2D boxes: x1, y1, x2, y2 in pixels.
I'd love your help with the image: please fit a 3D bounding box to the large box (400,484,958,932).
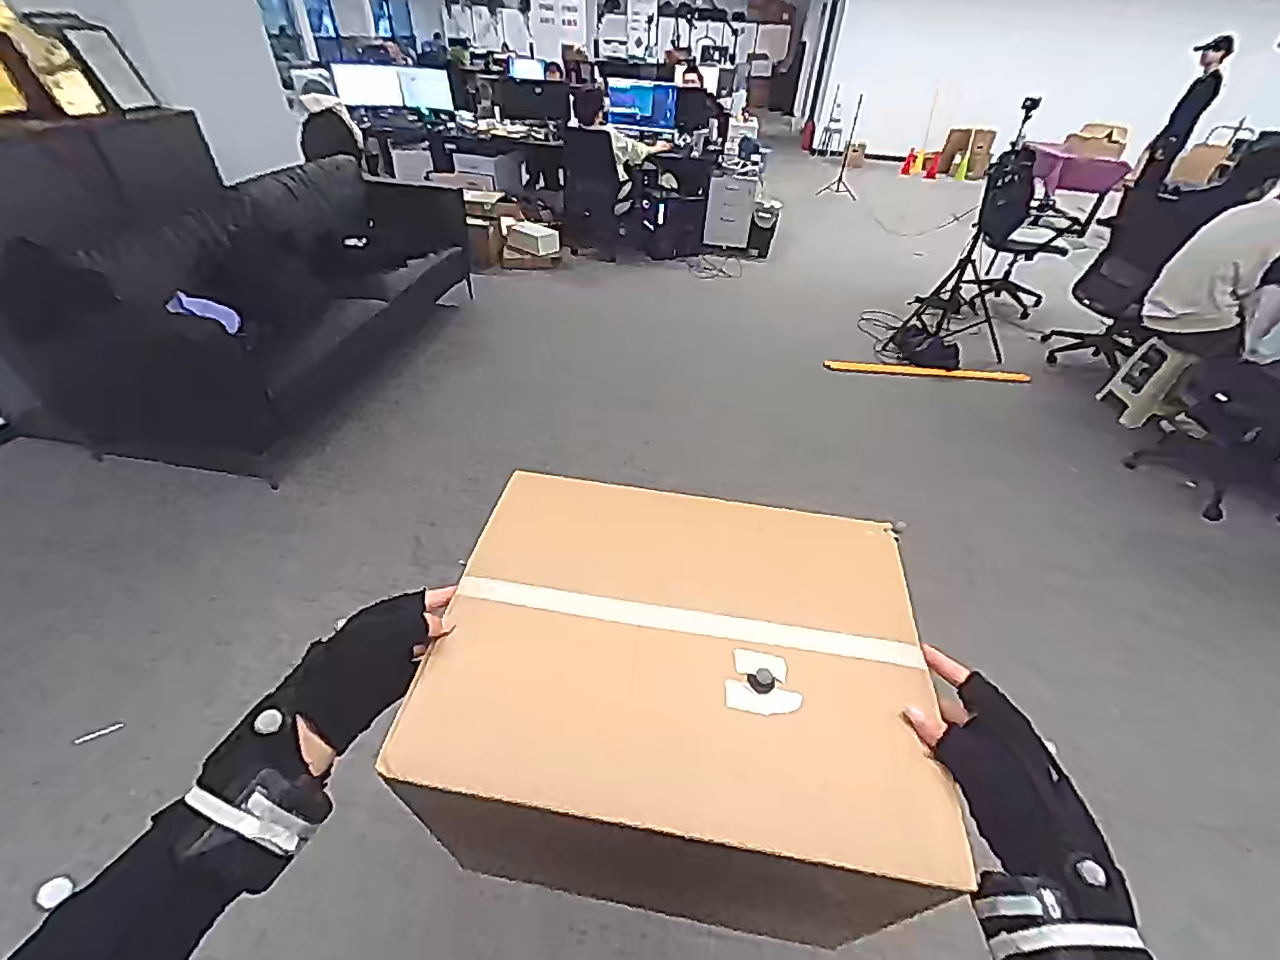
[{"bbox_3d":[0.034,0.237,0.584,0.408,0.320,0.320,8,44,5],"label":"large box"}]
